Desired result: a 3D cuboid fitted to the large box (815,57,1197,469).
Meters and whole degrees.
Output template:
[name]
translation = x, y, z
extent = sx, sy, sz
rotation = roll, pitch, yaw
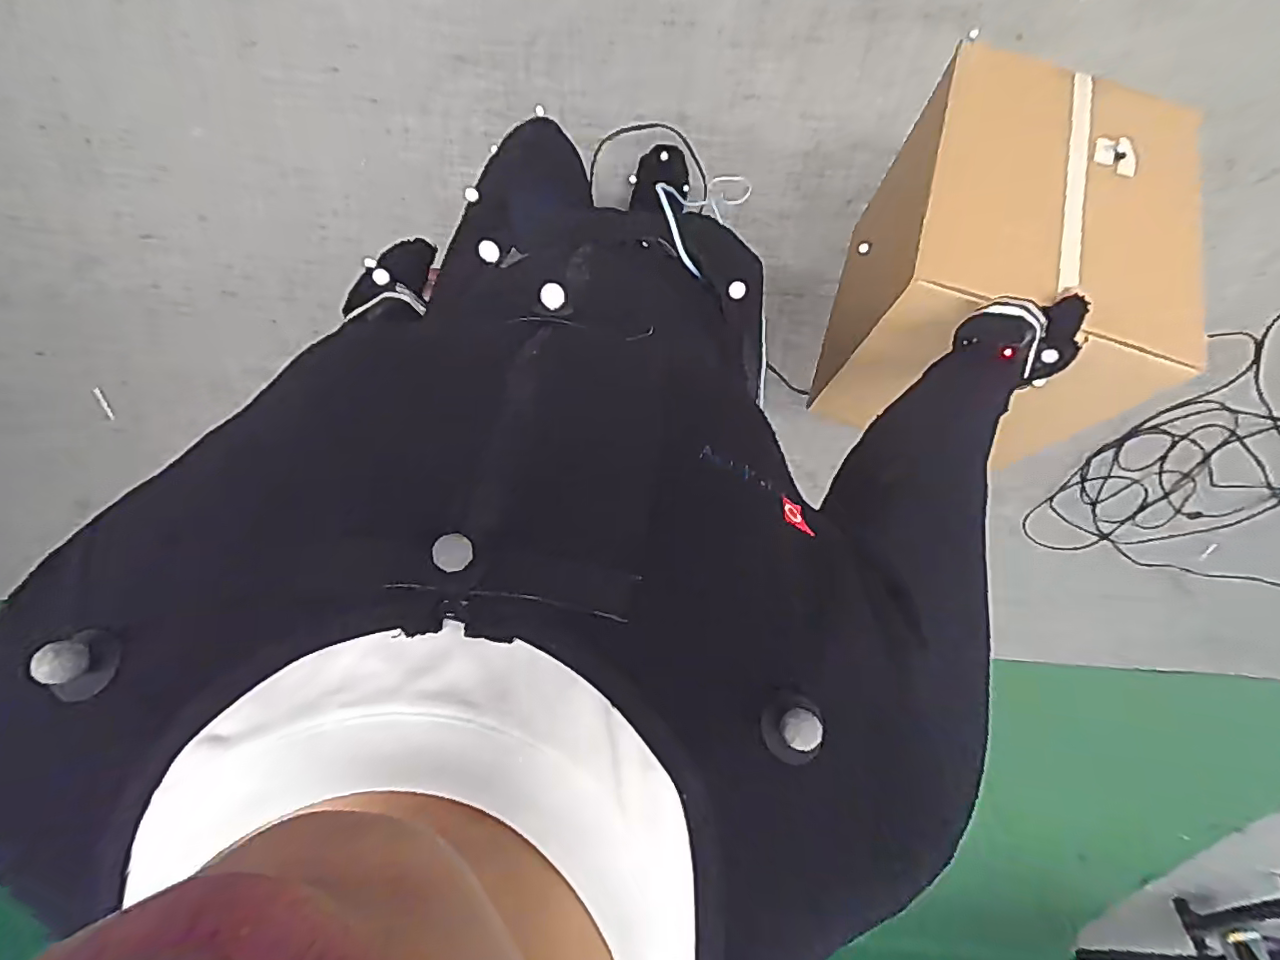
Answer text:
[large box]
translation = 0.485, -0.281, 0.774
extent = 0.320, 0.408, 0.320
rotation = 19, 160, 2
